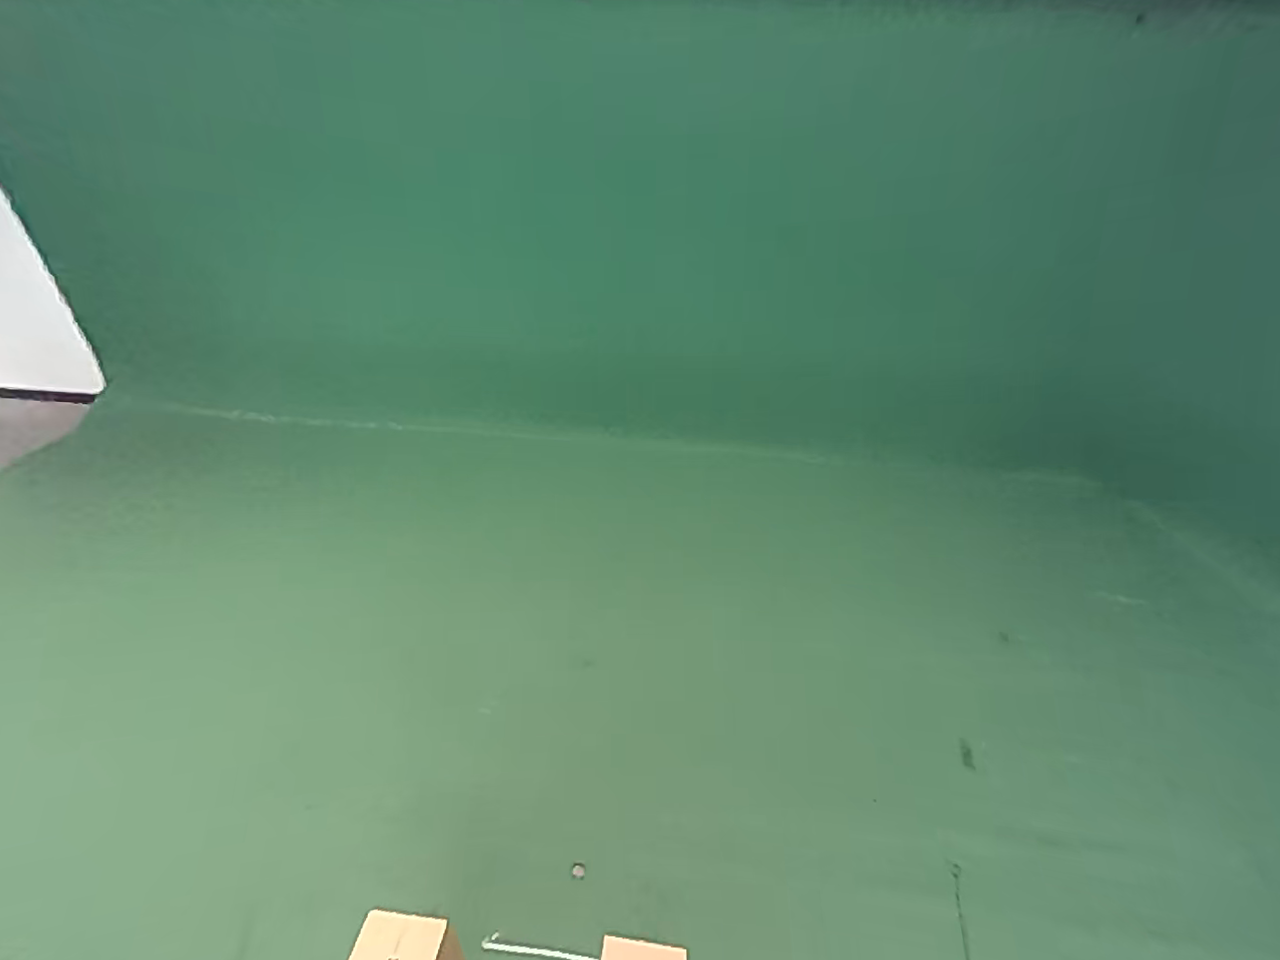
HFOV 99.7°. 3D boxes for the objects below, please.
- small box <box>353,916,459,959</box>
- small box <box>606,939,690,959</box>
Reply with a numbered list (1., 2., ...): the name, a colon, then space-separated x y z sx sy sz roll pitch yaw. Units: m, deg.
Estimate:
1. small box: -0.470 0.997 1.056 0.168 0.176 0.179 5 34 4
2. small box: 0.003 1.026 1.031 0.168 0.176 0.179 5 34 5
